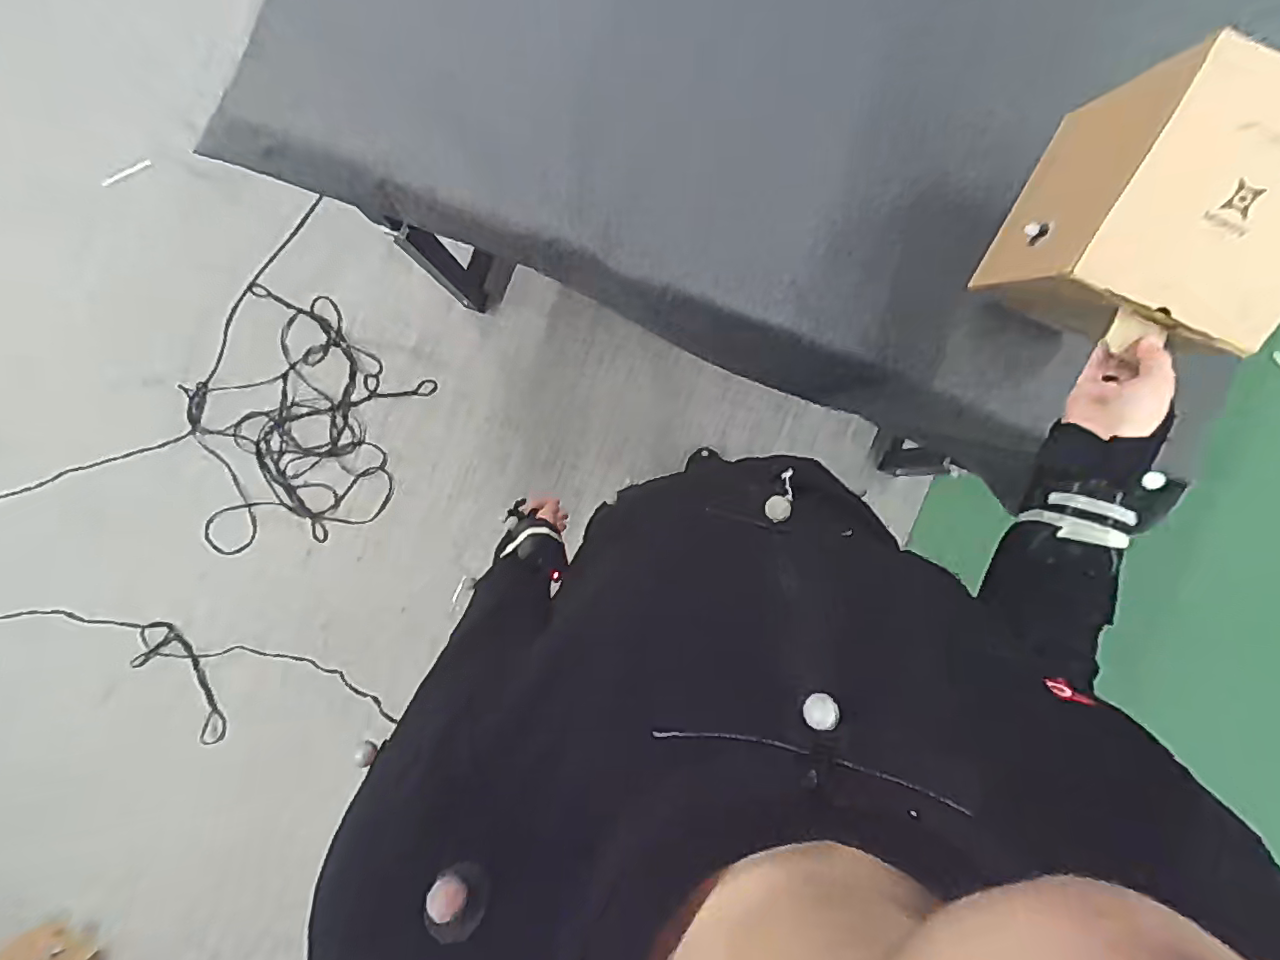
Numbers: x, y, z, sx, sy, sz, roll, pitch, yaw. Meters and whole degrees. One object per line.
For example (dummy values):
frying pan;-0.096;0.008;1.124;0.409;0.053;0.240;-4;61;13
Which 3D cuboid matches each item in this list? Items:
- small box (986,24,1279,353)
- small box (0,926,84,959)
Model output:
small box;0.448;-0.226;0.472;0.168;0.176;0.179;22;106;-3
small box;-1.516;1.247;1.298;0.168;0.176;0.179;33;90;2
